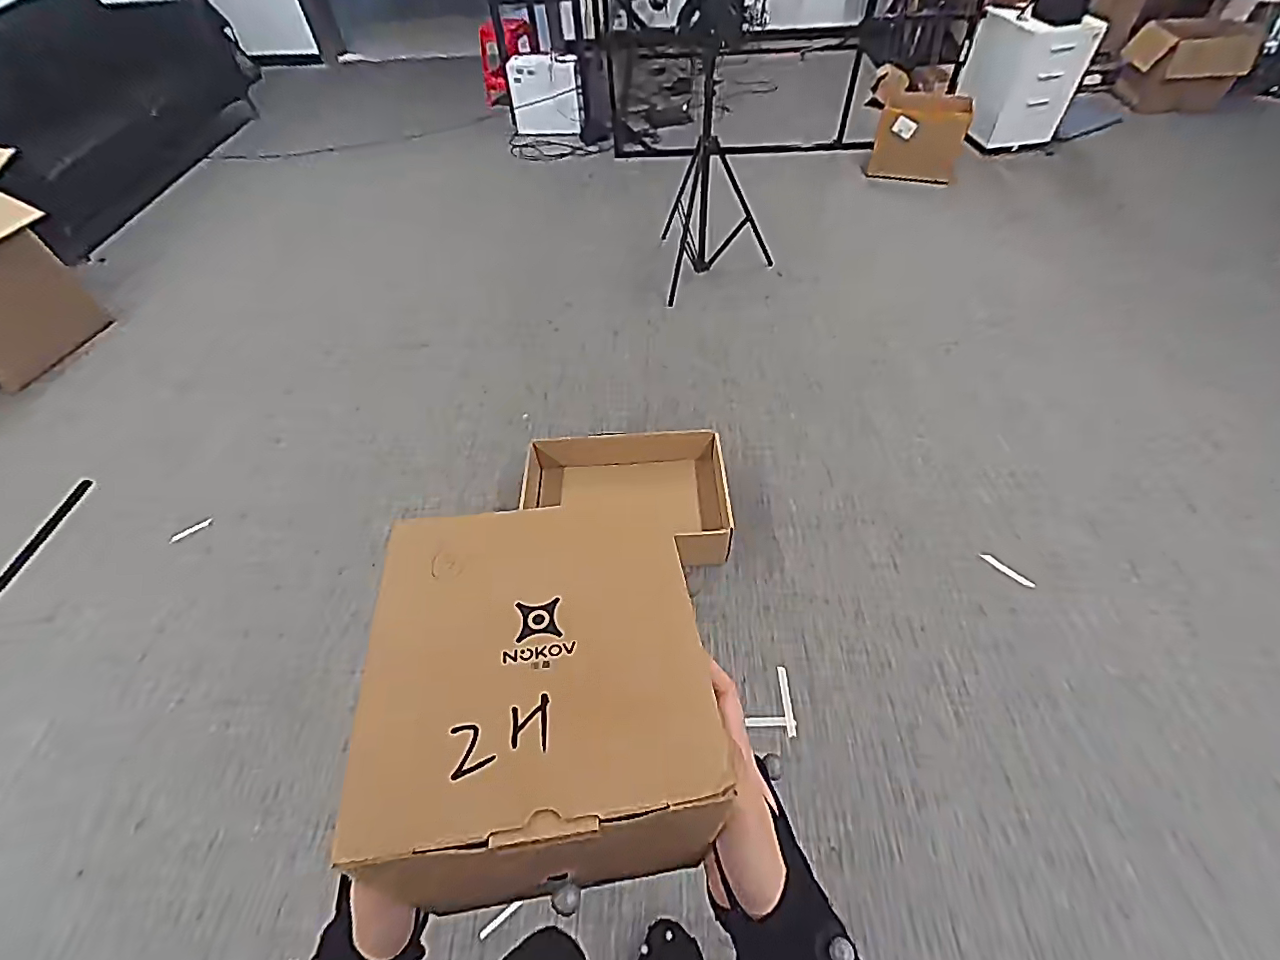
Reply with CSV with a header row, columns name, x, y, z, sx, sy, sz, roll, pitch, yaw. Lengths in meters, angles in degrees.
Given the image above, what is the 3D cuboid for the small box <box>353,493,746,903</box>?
name,x,y,z,sx,sy,sz,roll,pitch,yaw
small box,-0.049,0.132,0.337,0.168,0.176,0.179,-6,47,-7
